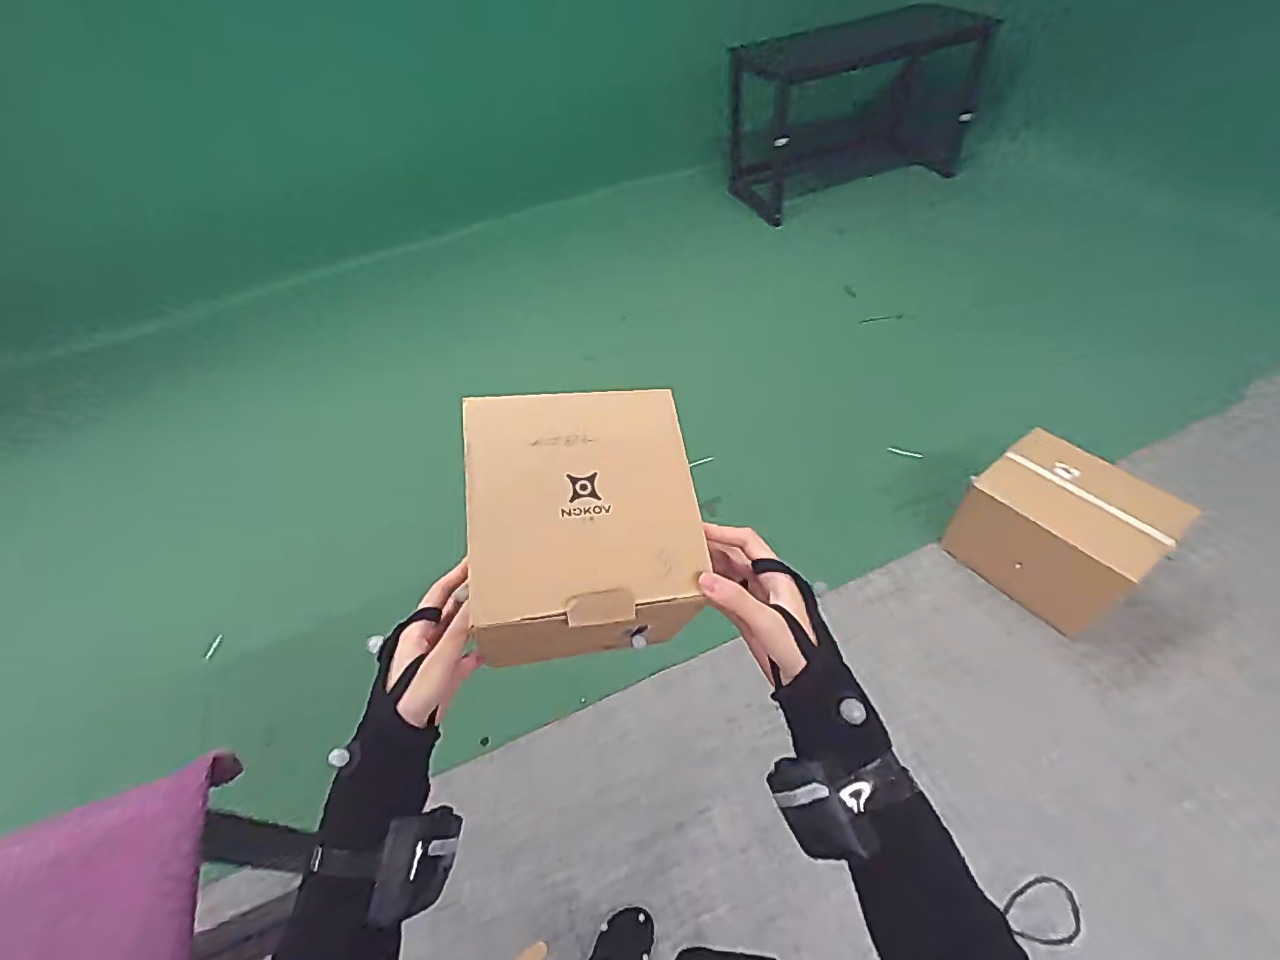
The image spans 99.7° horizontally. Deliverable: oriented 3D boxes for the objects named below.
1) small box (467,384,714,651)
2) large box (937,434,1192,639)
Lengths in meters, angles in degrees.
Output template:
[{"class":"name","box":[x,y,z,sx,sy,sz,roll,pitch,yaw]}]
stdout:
[{"class":"small box","box":[-0.051,0.040,0.458,0.168,0.176,0.179,-3,63,-12]},{"class":"large box","box":[1.129,0.149,1.489,0.320,0.320,0.408,-32,51,-19]}]
